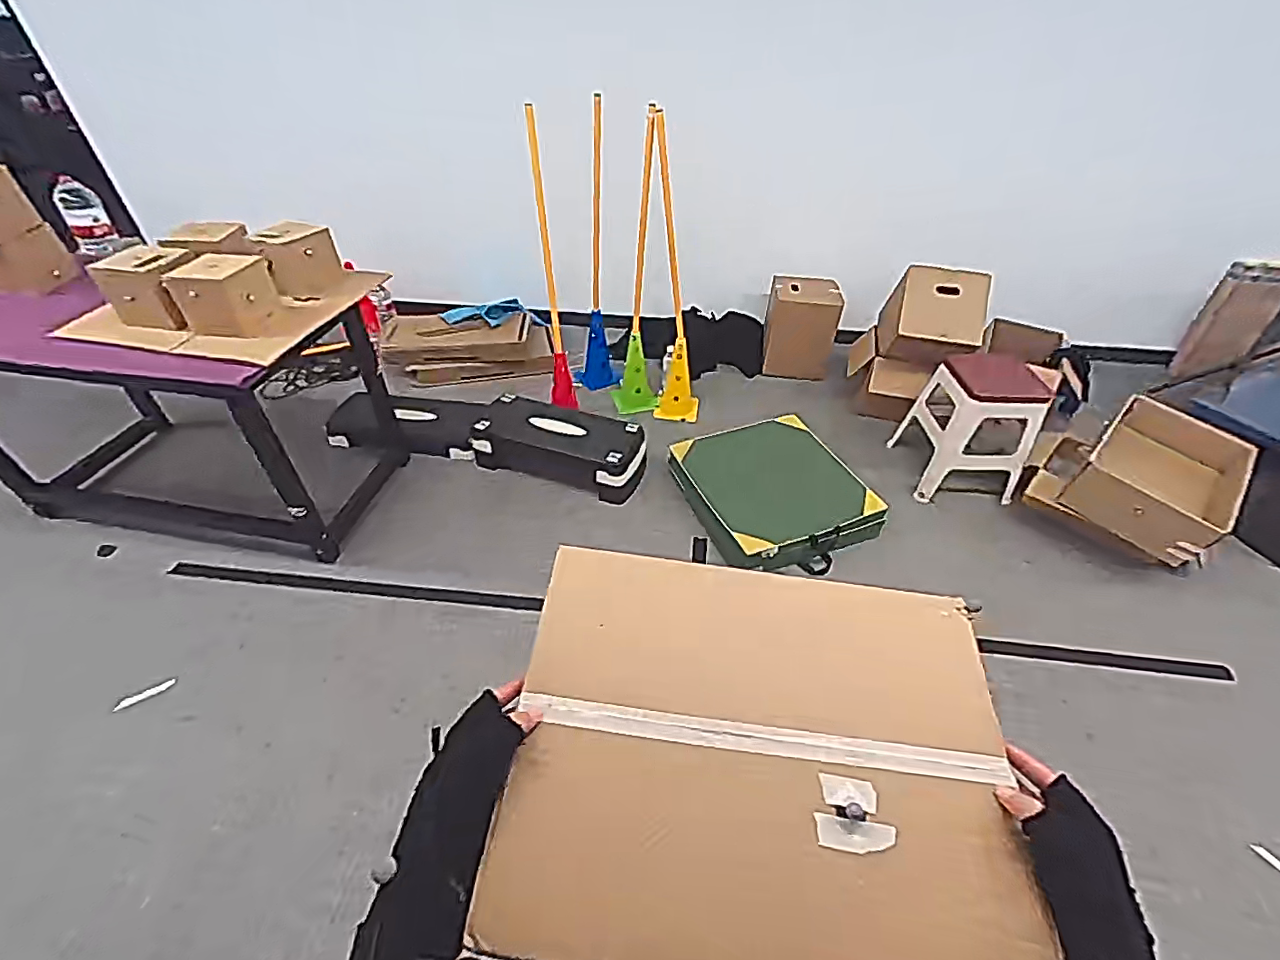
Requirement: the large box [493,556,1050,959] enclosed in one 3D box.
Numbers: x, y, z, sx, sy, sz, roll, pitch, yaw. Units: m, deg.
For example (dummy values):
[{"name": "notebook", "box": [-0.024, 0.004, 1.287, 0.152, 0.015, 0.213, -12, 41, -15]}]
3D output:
[{"name": "large box", "box": [0.097, 0.311, 0.580, 0.408, 0.320, 0.320, 7, 53, 2]}]
